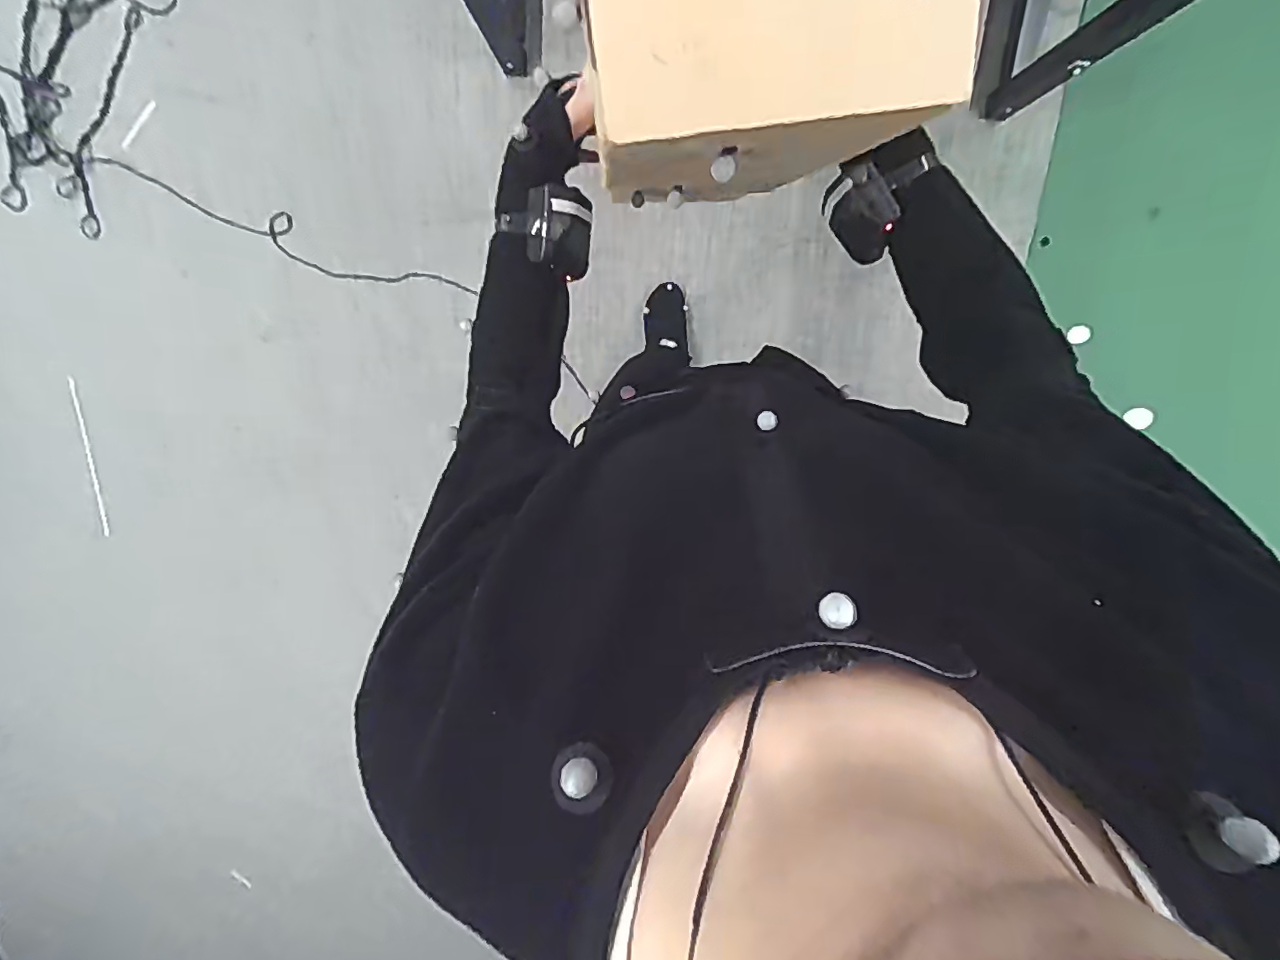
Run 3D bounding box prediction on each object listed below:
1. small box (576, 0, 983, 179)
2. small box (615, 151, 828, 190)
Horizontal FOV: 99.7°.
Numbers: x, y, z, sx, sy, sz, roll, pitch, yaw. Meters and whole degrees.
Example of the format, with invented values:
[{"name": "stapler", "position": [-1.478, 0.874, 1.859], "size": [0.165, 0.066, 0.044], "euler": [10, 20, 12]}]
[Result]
[{"name": "small box", "position": [0.055, -0.273, 0.291], "size": [0.179, 0.176, 0.168], "euler": [-6, 112, 1]}, {"name": "small box", "position": [0.055, -0.346, 0.438], "size": [0.168, 0.176, 0.179], "euler": [0, 112, -3]}]
